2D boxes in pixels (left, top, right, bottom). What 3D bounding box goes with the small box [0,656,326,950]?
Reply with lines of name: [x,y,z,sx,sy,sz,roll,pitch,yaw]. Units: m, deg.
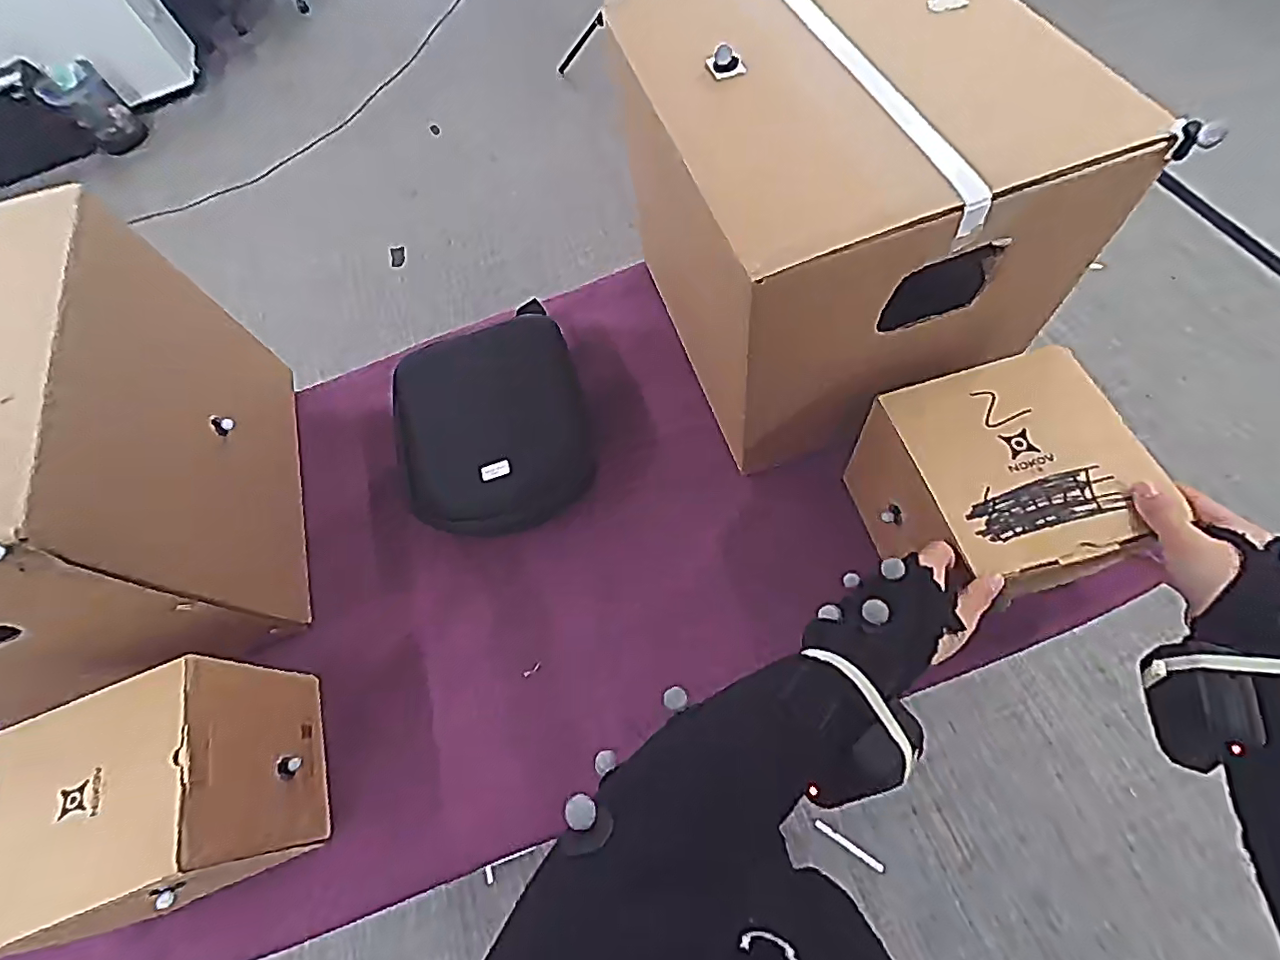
small box: [-0.427,0.286,0.496,0.179,0.176,0.168,-23,62,-3]

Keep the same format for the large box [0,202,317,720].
large box: [-0.606,-0.001,0.582,0.320,0.320,0.408,-21,65,-3]
